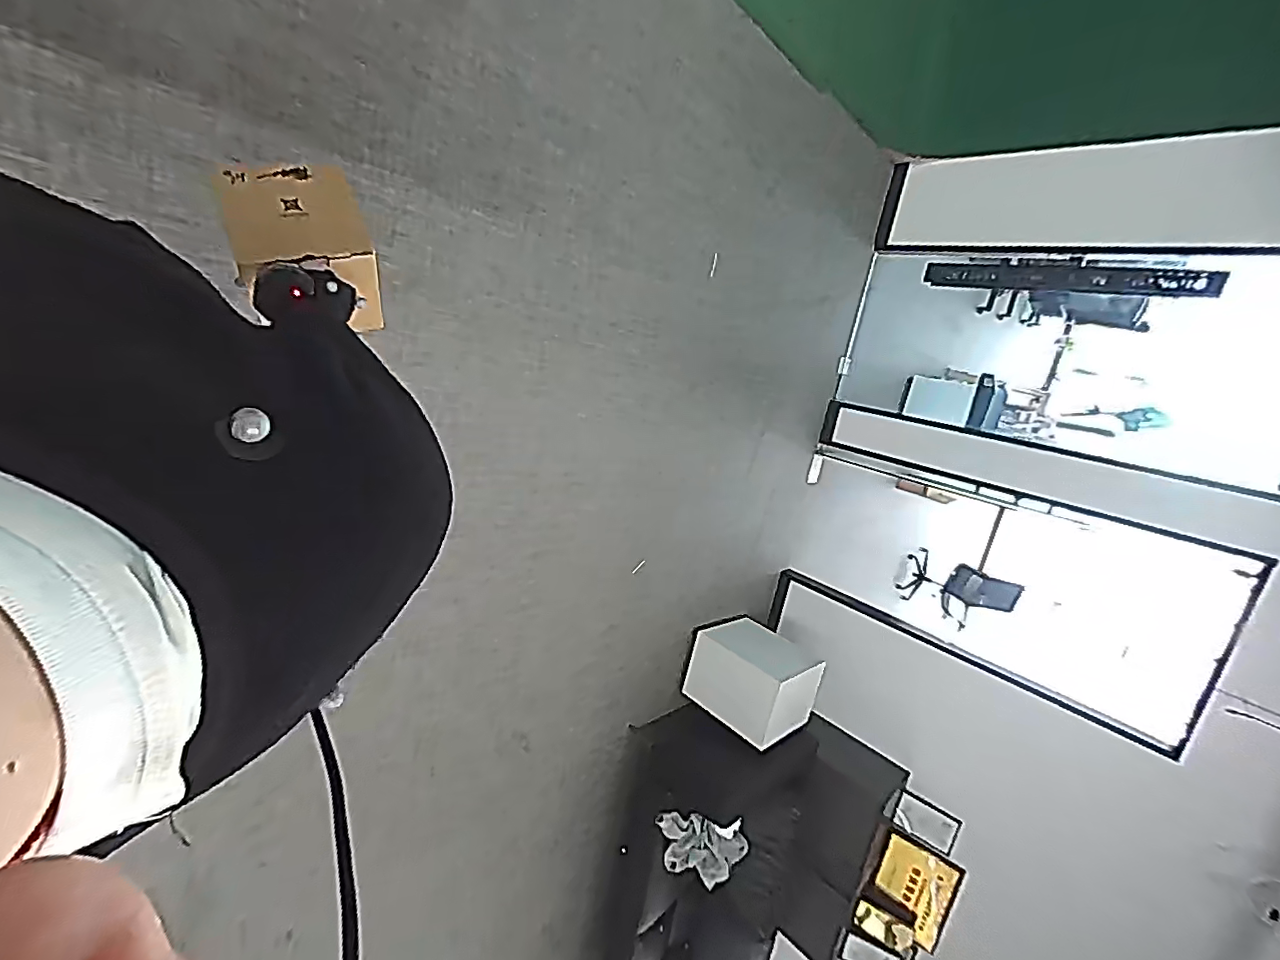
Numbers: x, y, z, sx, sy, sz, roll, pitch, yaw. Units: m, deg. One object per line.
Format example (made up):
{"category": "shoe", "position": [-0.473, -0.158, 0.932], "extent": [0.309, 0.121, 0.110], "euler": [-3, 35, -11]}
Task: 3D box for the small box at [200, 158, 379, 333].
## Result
{"category": "small box", "position": [-0.508, -0.340, 0.808], "extent": [0.168, 0.179, 0.176], "euler": [-21, 167, -26]}
